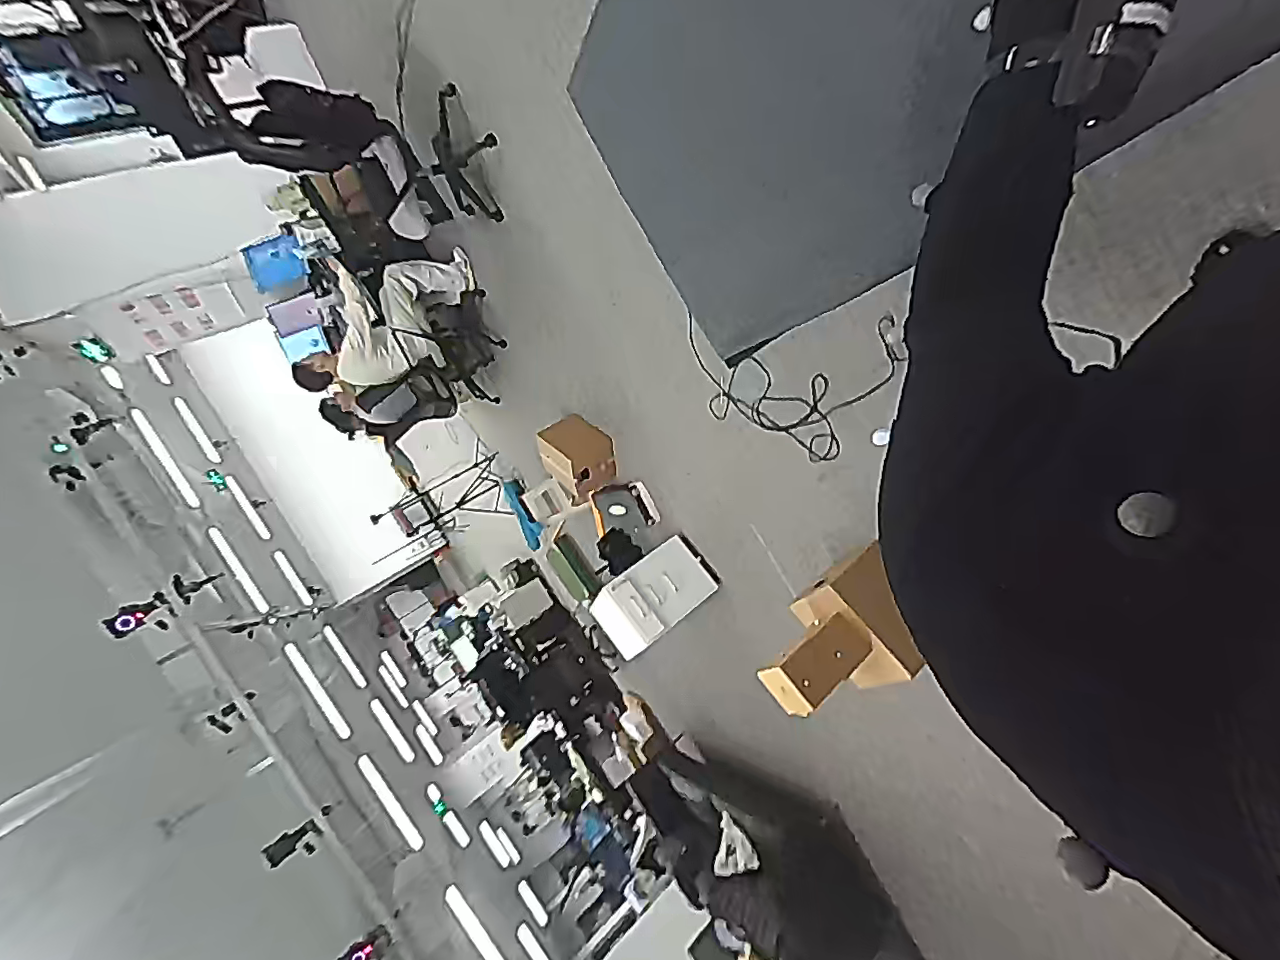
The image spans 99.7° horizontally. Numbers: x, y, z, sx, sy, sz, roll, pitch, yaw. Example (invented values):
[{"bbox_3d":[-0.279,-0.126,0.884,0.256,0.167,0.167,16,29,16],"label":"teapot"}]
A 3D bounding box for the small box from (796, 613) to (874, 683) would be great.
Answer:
[{"bbox_3d":[0.694,0.608,1.932,0.179,0.176,0.168,51,152,13],"label":"small box"}]

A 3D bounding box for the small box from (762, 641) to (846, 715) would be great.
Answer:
[{"bbox_3d":[0.564,0.675,1.861,0.179,0.176,0.168,51,151,12],"label":"small box"}]
